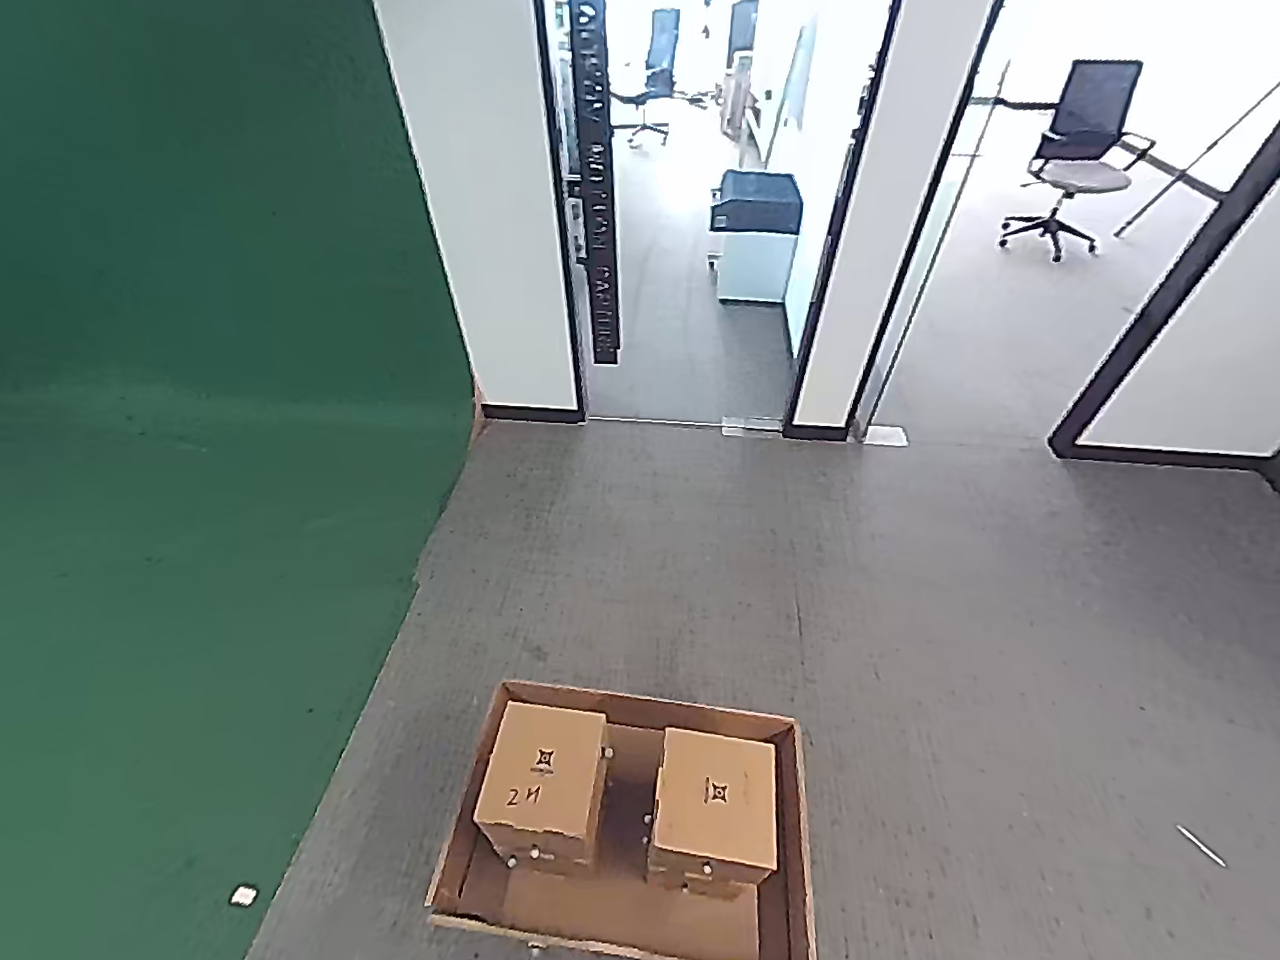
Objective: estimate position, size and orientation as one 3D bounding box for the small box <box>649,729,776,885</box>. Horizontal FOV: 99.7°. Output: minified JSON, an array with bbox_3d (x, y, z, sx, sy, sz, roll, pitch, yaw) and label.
[{"bbox_3d":[0.111,0.519,0.855,0.179,0.176,0.168,8,48,5],"label":"small box"}]

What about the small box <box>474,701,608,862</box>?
[{"bbox_3d":[-0.148,0.488,0.875,0.168,0.176,0.179,6,46,5],"label":"small box"}]
